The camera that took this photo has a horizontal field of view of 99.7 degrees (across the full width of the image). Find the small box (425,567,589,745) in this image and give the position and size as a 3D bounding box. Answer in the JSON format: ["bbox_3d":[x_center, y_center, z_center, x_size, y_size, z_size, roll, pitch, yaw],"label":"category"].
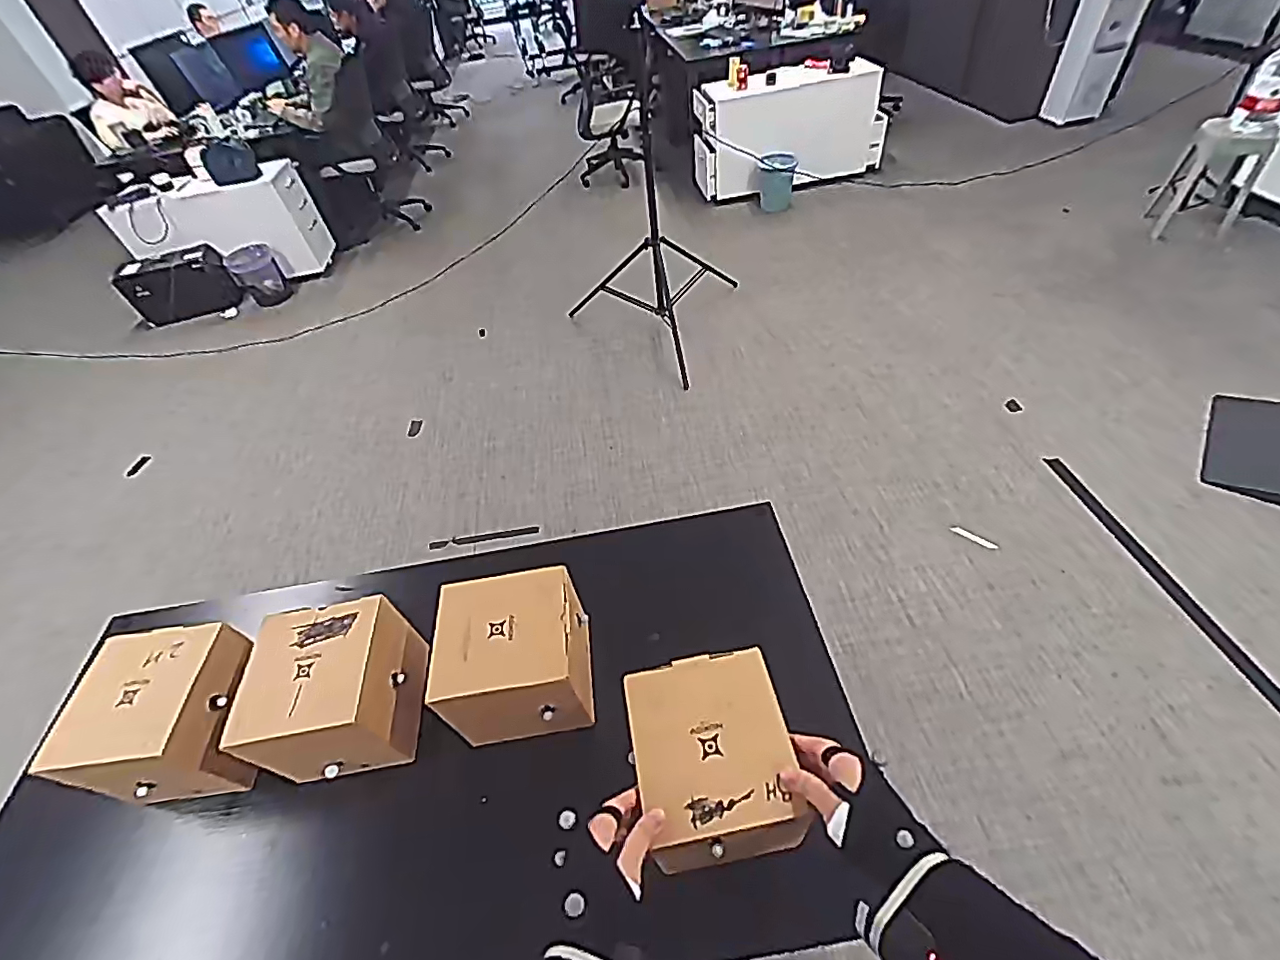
[{"bbox_3d":[-0.170,0.247,0.753,0.179,0.176,0.168,-11,46,1],"label":"small box"}]

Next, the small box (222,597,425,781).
[{"bbox_3d":[-0.415,0.291,0.749,0.168,0.176,0.179,-10,49,-1],"label":"small box"}]

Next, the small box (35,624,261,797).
[{"bbox_3d":[-0.636,0.326,0.753,0.168,0.176,0.179,-8,47,1],"label":"small box"}]

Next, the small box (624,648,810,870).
[{"bbox_3d":[0.082,0.328,0.635,0.168,0.176,0.179,-12,47,-1],"label":"small box"}]
